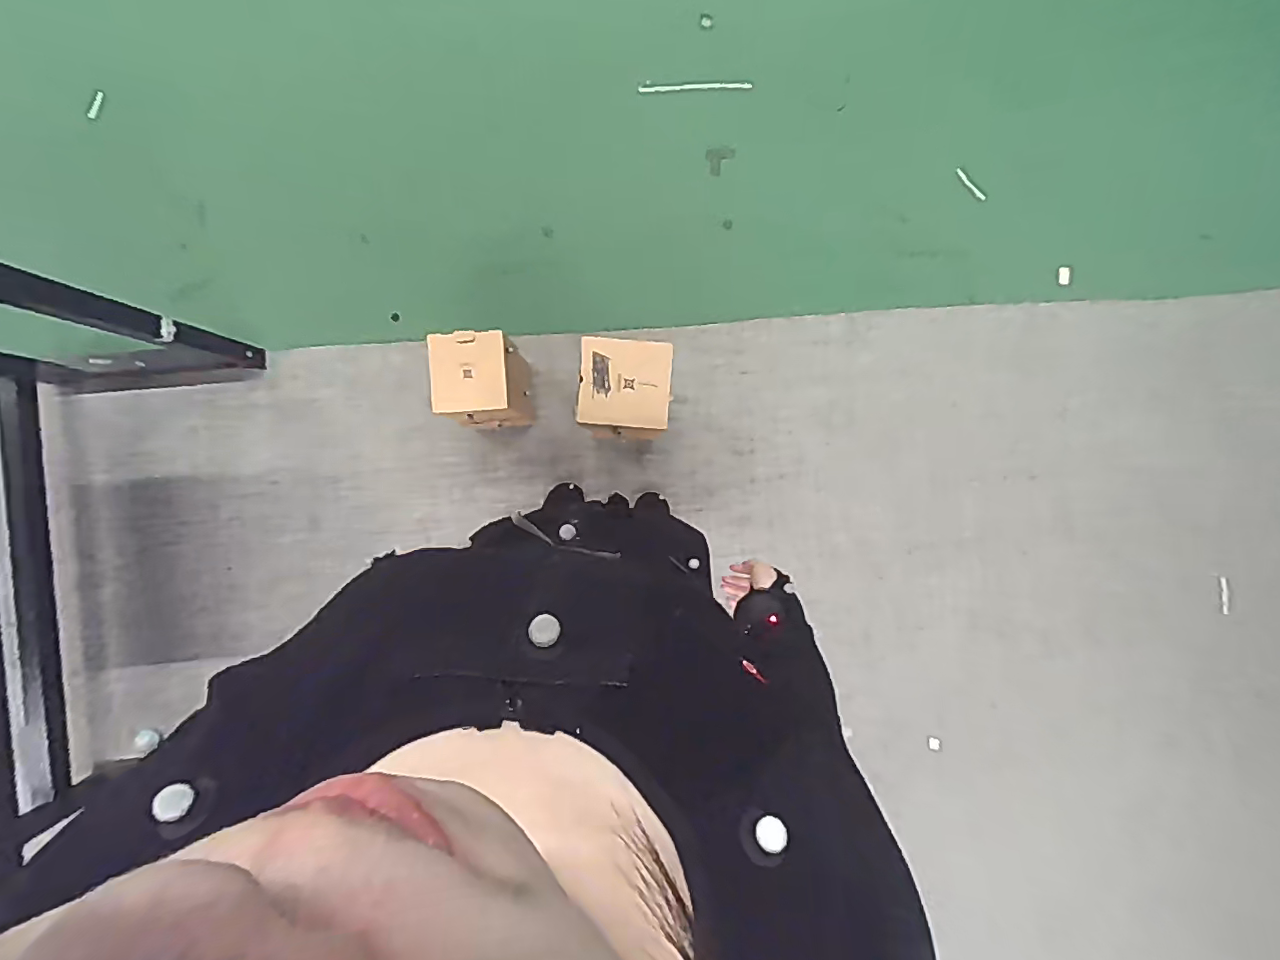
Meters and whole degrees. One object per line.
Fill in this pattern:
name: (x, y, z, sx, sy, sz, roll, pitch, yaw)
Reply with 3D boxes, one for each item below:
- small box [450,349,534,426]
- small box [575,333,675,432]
small box: (-0.376, -0.233, 1.401, 0.168, 0.176, 0.179, -5, 92, -1)
small box: (-0.030, -0.186, 1.082, 0.179, 0.176, 0.168, 5, 92, -2)
